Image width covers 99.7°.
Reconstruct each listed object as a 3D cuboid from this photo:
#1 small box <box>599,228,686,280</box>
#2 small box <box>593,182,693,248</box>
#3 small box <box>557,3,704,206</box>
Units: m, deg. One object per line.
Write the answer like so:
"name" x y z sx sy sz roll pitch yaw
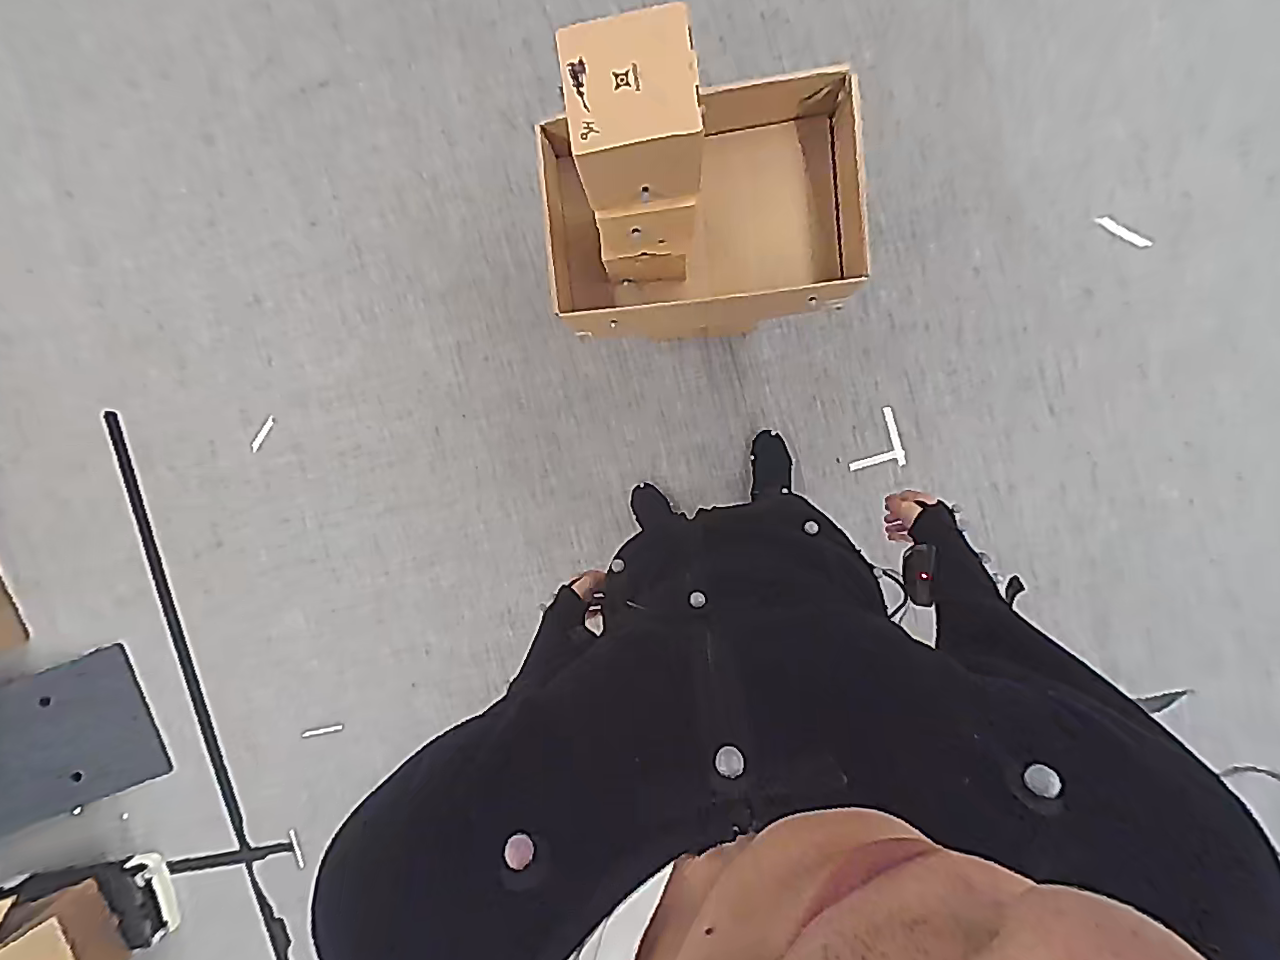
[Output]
"small box" 0.009 -0.519 1.104 0.168 0.176 0.179 -2 93 4
"small box" 0.005 -0.521 0.941 0.168 0.176 0.179 -6 92 5
"small box" -0.009 -0.522 0.777 0.179 0.176 0.168 -7 92 4
